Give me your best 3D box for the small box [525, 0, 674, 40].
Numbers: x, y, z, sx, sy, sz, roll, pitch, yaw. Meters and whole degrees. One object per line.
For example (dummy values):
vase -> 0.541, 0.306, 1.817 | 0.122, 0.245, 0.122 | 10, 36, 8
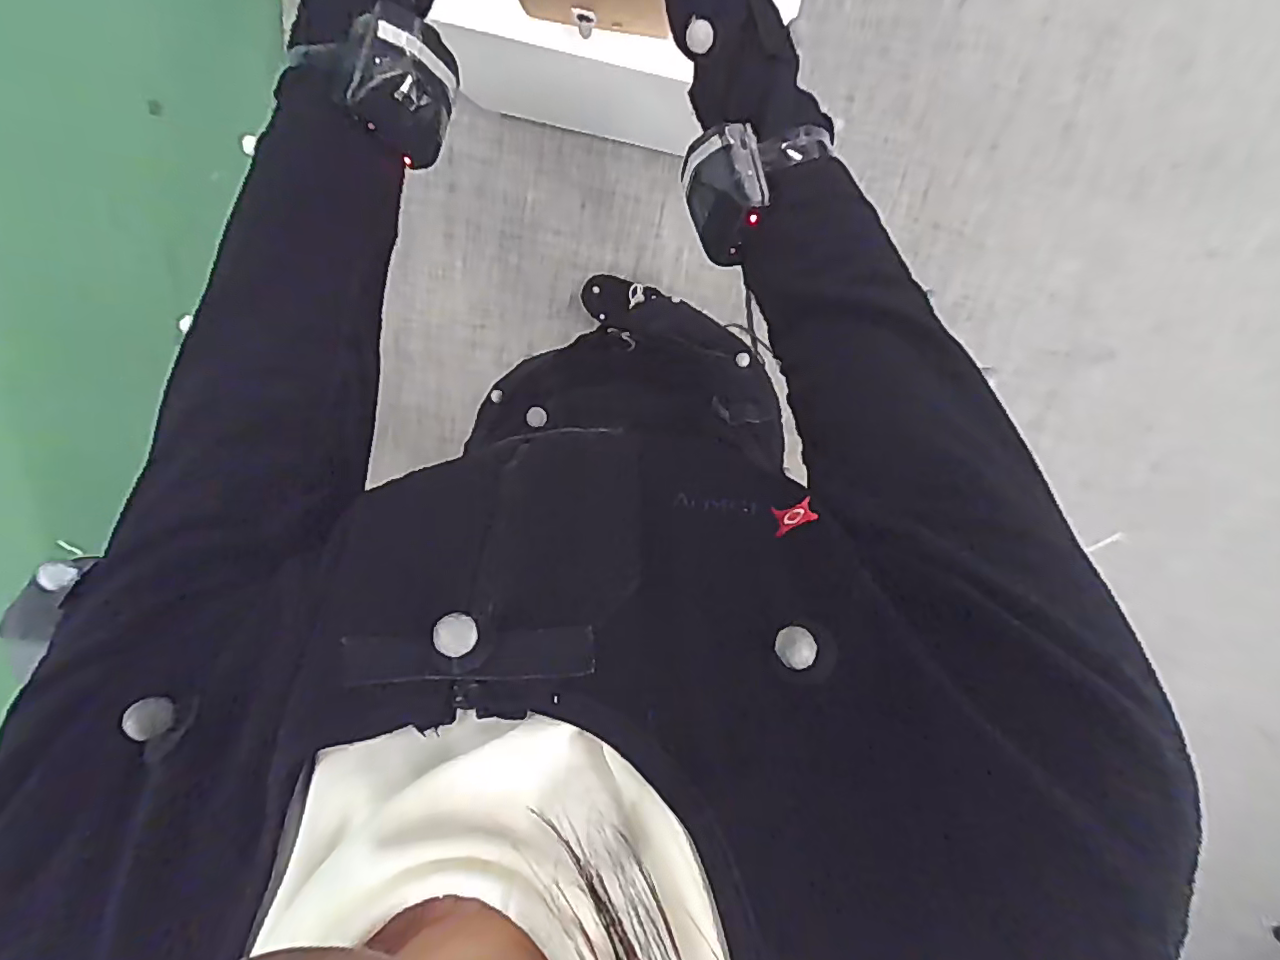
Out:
small box -> -0.040, -0.558, 0.509 | 0.168, 0.176, 0.179 | 7, 114, 0

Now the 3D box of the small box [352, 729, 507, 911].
small box -> -0.315, 0.515, 0.834 | 0.179, 0.176, 0.168 | 13, 114, -4
